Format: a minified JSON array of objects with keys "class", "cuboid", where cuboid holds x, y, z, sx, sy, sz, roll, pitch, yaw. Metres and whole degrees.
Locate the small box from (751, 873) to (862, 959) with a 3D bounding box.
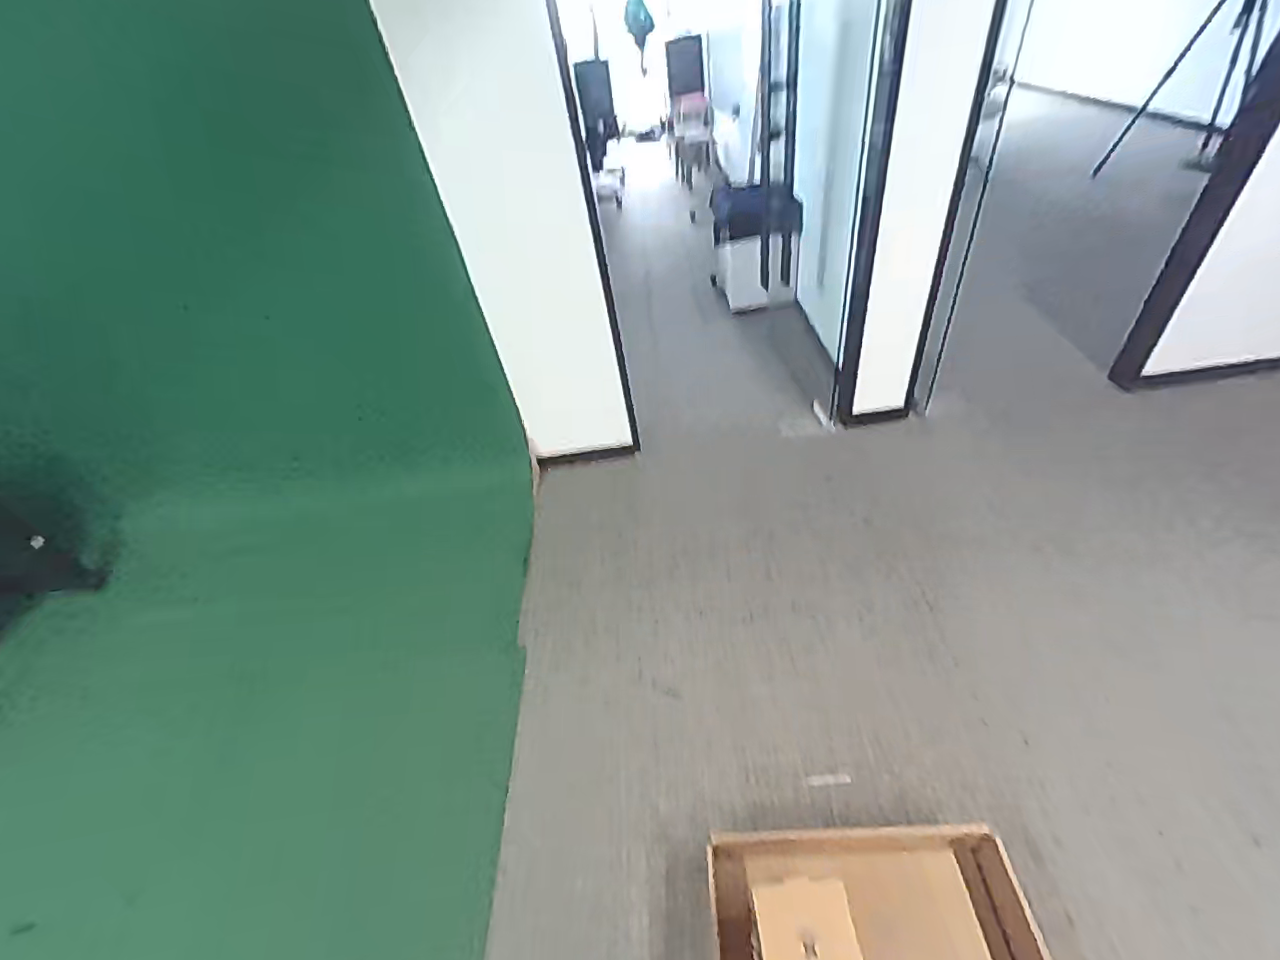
[{"class":"small box","cuboid":[0.296,0.840,0.975,0.168,0.176,0.179,-8,42,4]}]
